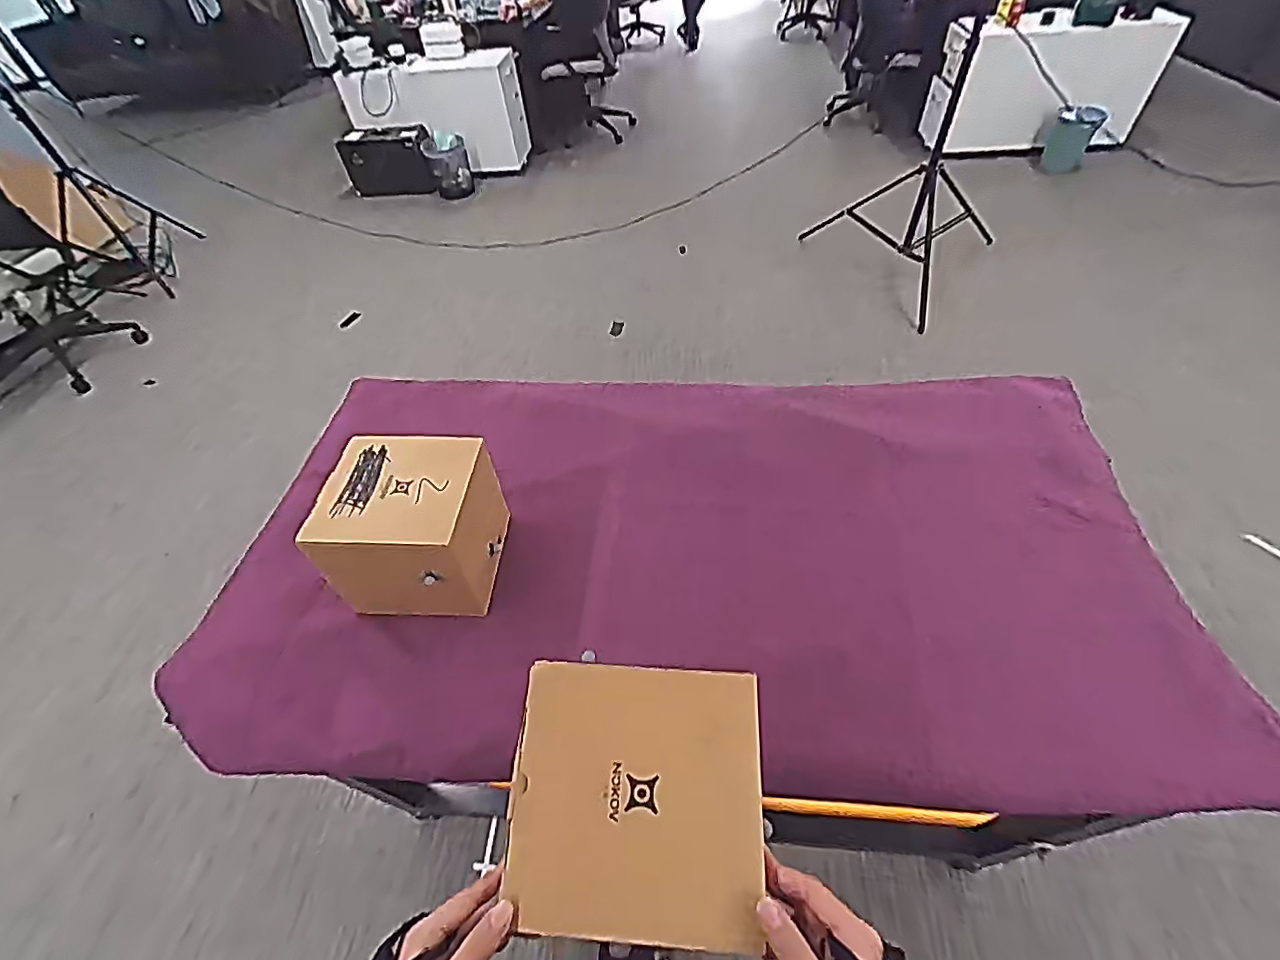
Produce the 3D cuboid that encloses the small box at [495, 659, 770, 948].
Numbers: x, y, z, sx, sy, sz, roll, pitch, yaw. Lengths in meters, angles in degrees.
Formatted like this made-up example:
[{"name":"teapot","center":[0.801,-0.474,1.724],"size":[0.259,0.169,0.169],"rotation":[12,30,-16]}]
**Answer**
[{"name":"small box","center":[0.004,0.249,0.444],"size":[0.179,0.176,0.168],"rotation":[0,62,6]}]
